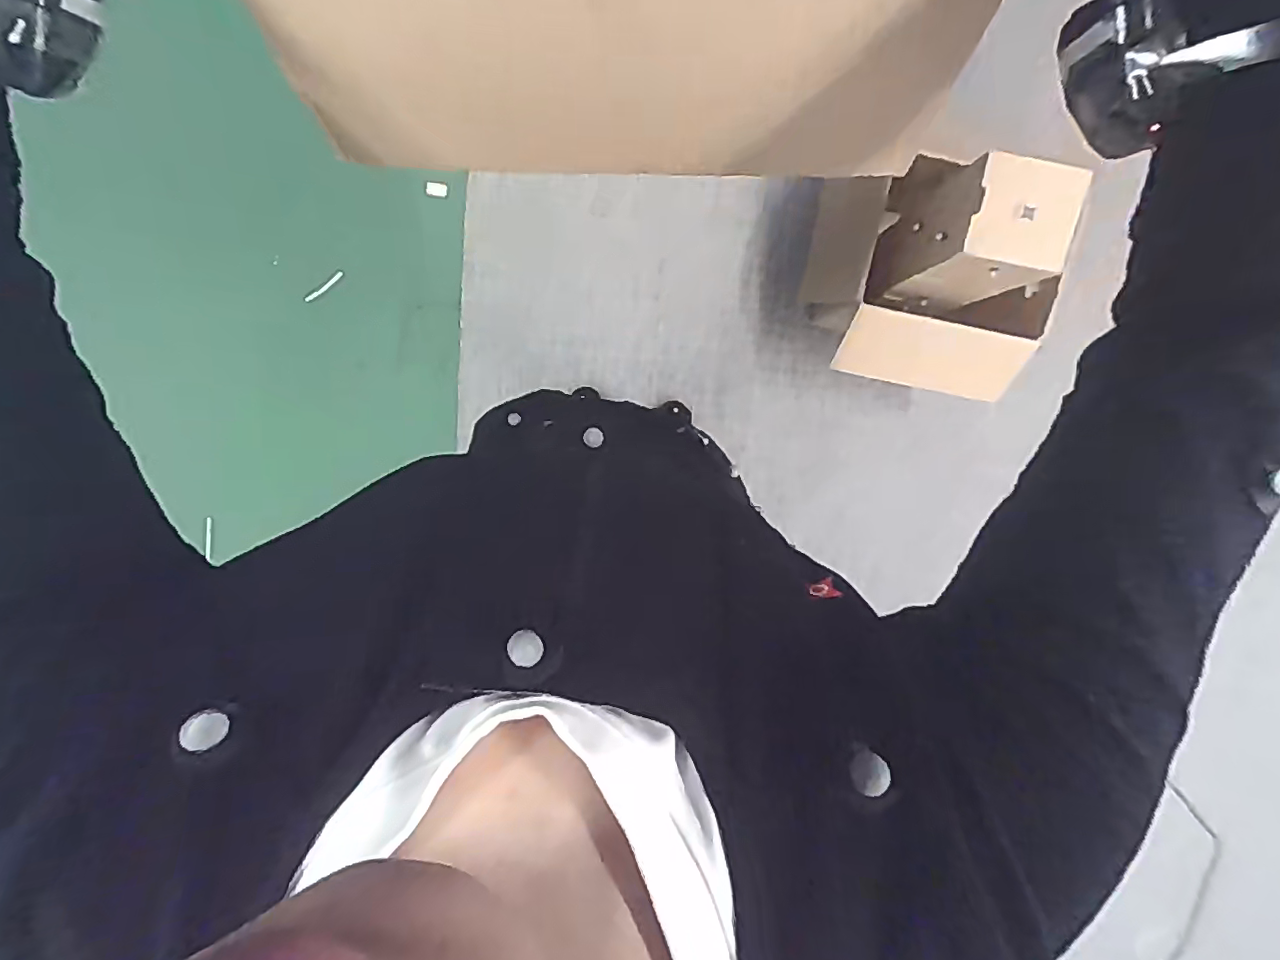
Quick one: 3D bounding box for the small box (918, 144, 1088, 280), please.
[{"bbox_3d":[0.639,-0.472,0.978,0.179,0.176,0.168,10,100,-1],"label":"small box"}]
